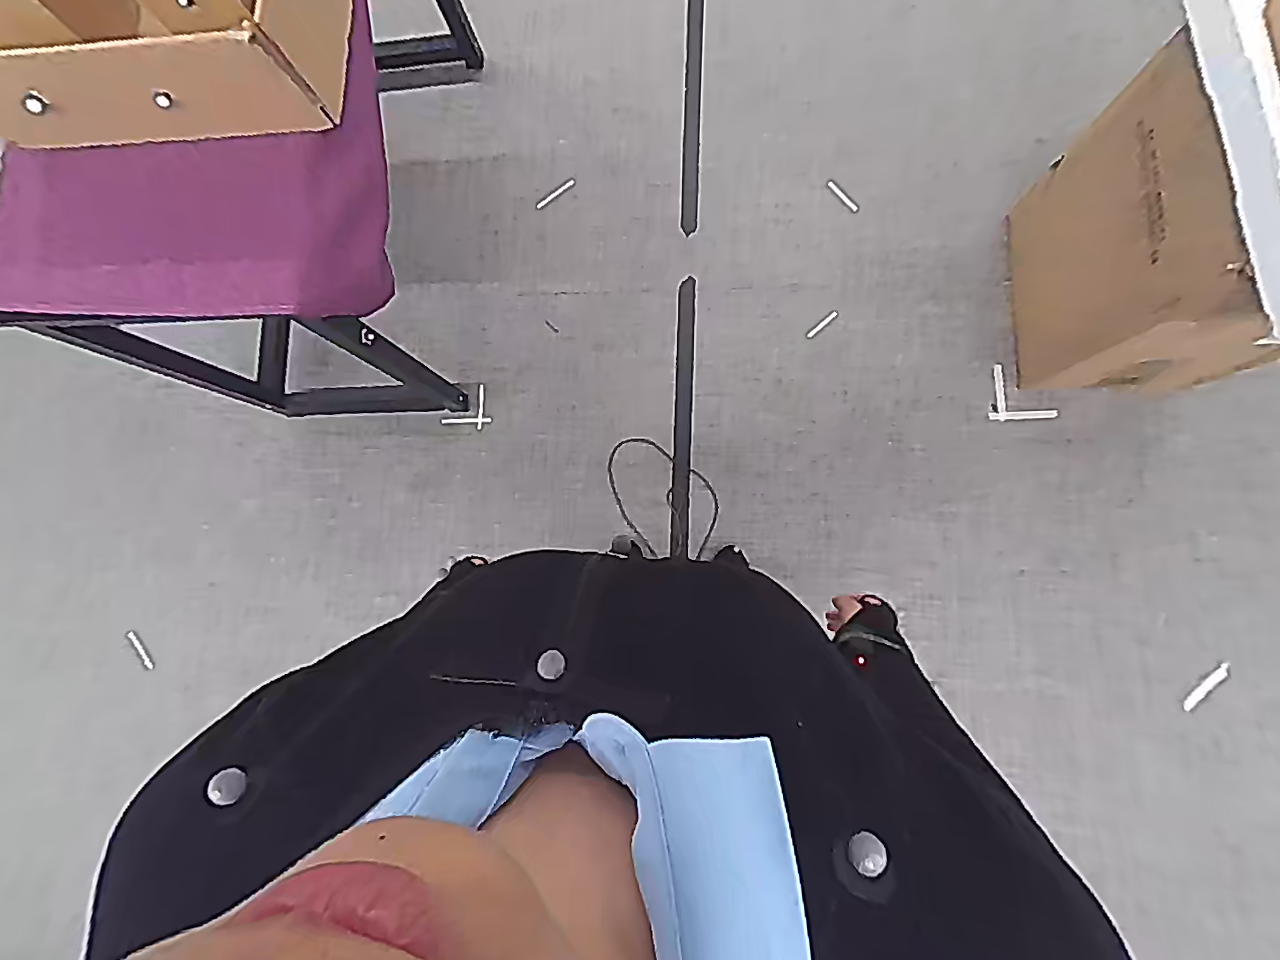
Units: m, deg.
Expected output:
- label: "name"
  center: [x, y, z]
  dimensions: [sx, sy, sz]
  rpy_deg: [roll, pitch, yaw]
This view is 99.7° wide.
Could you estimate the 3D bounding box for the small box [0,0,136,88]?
- label: "small box"
  center: [-0.945, -0.762, 0.843]
  dimensions: [0.168, 0.176, 0.179]
  rpy_deg: [-3, 82, 4]
